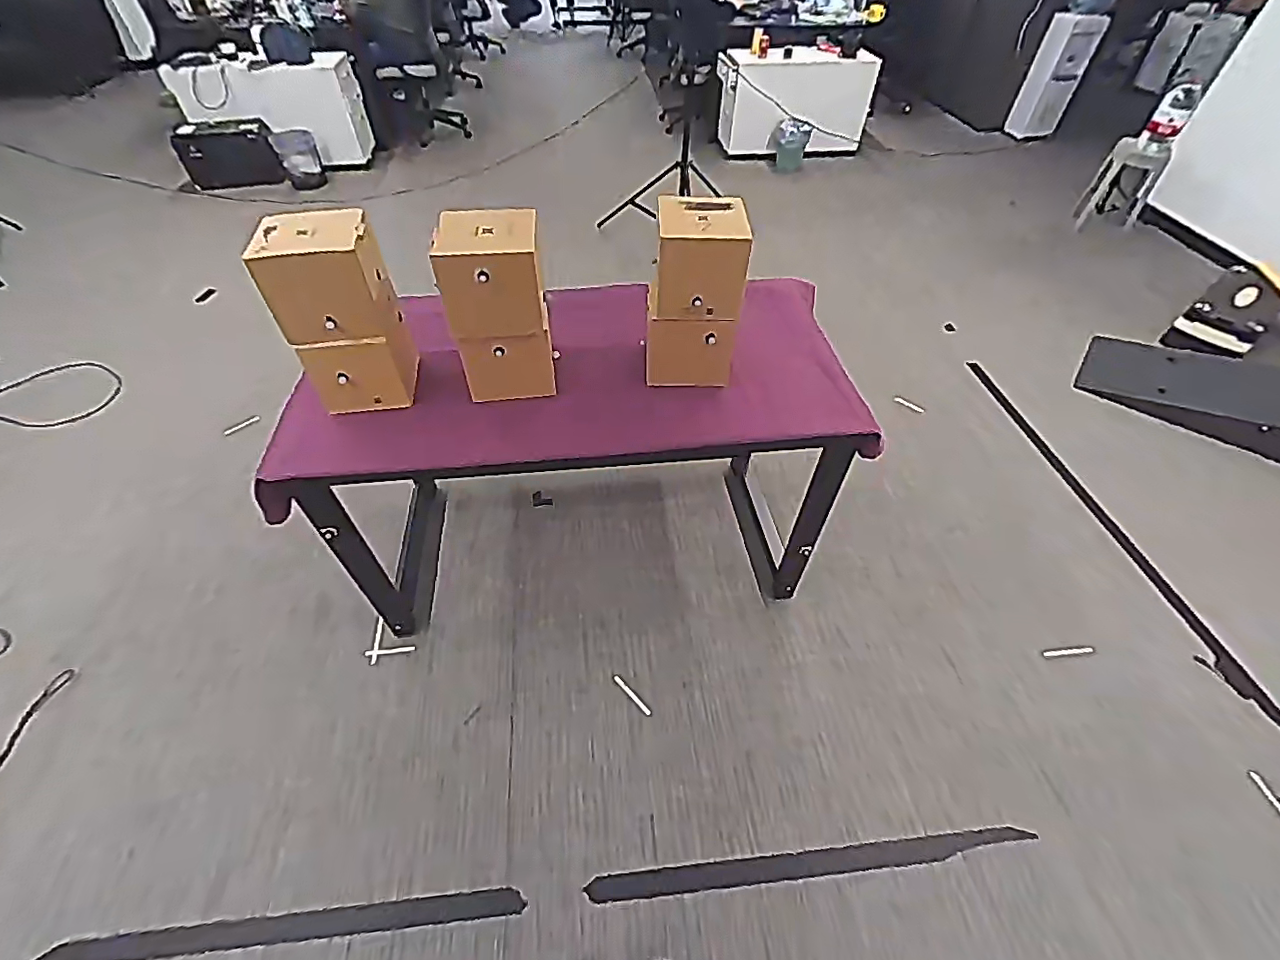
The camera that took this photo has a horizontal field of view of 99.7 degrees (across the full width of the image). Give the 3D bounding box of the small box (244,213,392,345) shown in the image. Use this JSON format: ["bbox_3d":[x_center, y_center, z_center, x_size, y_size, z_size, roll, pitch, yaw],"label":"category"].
[{"bbox_3d":[-0.574,-0.369,0.997,0.179,0.176,0.168,-8,49,-9],"label":"small box"}]

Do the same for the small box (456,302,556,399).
[{"bbox_3d":[-0.278,-0.286,1.145,0.179,0.176,0.168,-6,49,-7],"label":"small box"}]

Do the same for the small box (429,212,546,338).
[{"bbox_3d":[-0.275,-0.382,1.015,0.179,0.176,0.168,-4,50,-6],"label":"small box"}]

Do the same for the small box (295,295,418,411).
[{"bbox_3d":[-0.570,-0.256,1.116,0.168,0.176,0.179,-7,49,-7],"label":"small box"}]

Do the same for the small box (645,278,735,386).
[{"bbox_3d":[0.102,-0.320,1.181,0.179,0.176,0.168,0,48,0],"label":"small box"}]
